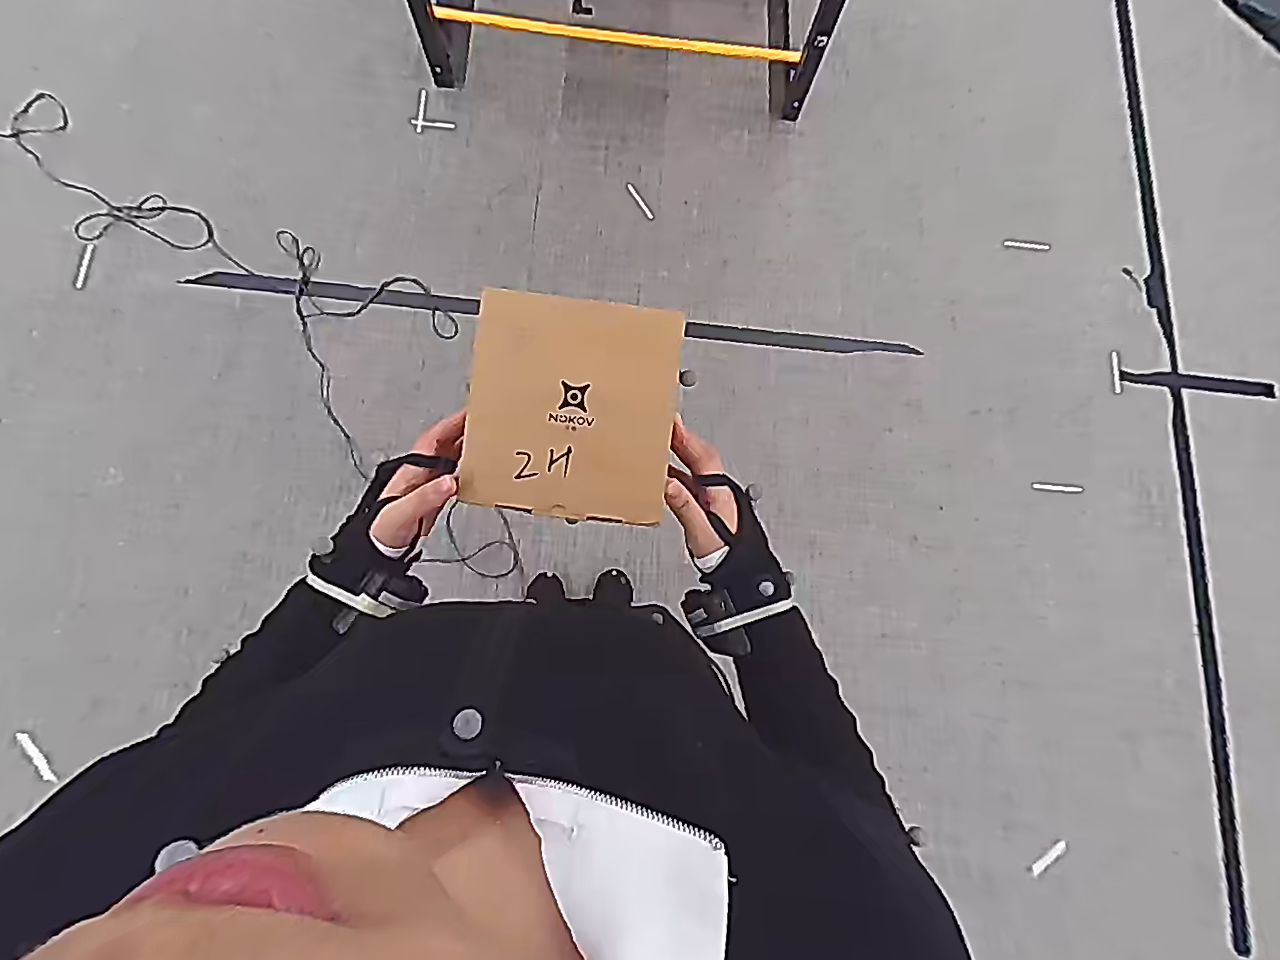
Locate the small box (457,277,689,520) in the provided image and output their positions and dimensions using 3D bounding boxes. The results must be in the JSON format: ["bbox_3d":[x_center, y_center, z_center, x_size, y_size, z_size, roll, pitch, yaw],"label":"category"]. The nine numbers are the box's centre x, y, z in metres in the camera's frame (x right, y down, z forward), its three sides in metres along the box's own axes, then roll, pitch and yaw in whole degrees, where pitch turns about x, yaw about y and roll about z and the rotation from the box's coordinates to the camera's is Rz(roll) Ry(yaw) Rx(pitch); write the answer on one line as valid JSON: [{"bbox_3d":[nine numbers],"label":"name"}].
[{"bbox_3d":[-0.053,-0.064,0.505,0.168,0.176,0.179,7,90,0],"label":"small box"}]
